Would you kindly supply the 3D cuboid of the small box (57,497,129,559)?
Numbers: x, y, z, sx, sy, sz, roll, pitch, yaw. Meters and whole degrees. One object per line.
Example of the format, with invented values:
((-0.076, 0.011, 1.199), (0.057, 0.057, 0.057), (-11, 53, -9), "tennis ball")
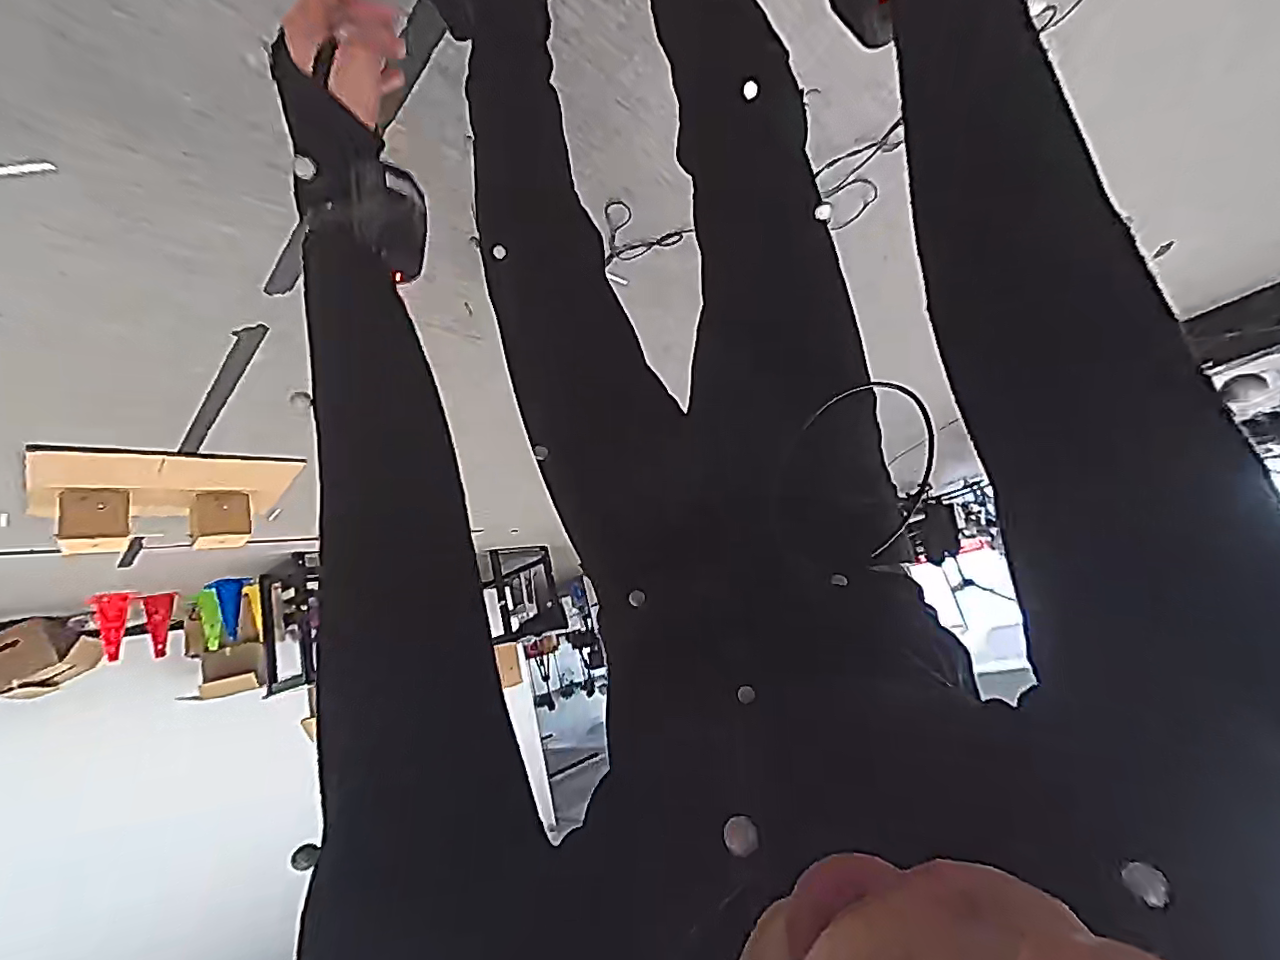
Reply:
((-1.876, 0.164, 1.858), (0.168, 0.176, 0.179), (0, 158, -44), "small box")

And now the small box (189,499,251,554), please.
((-1.643, 0.181, 2.111), (0.179, 0.176, 0.168), (-28, 161, 39), "small box")
